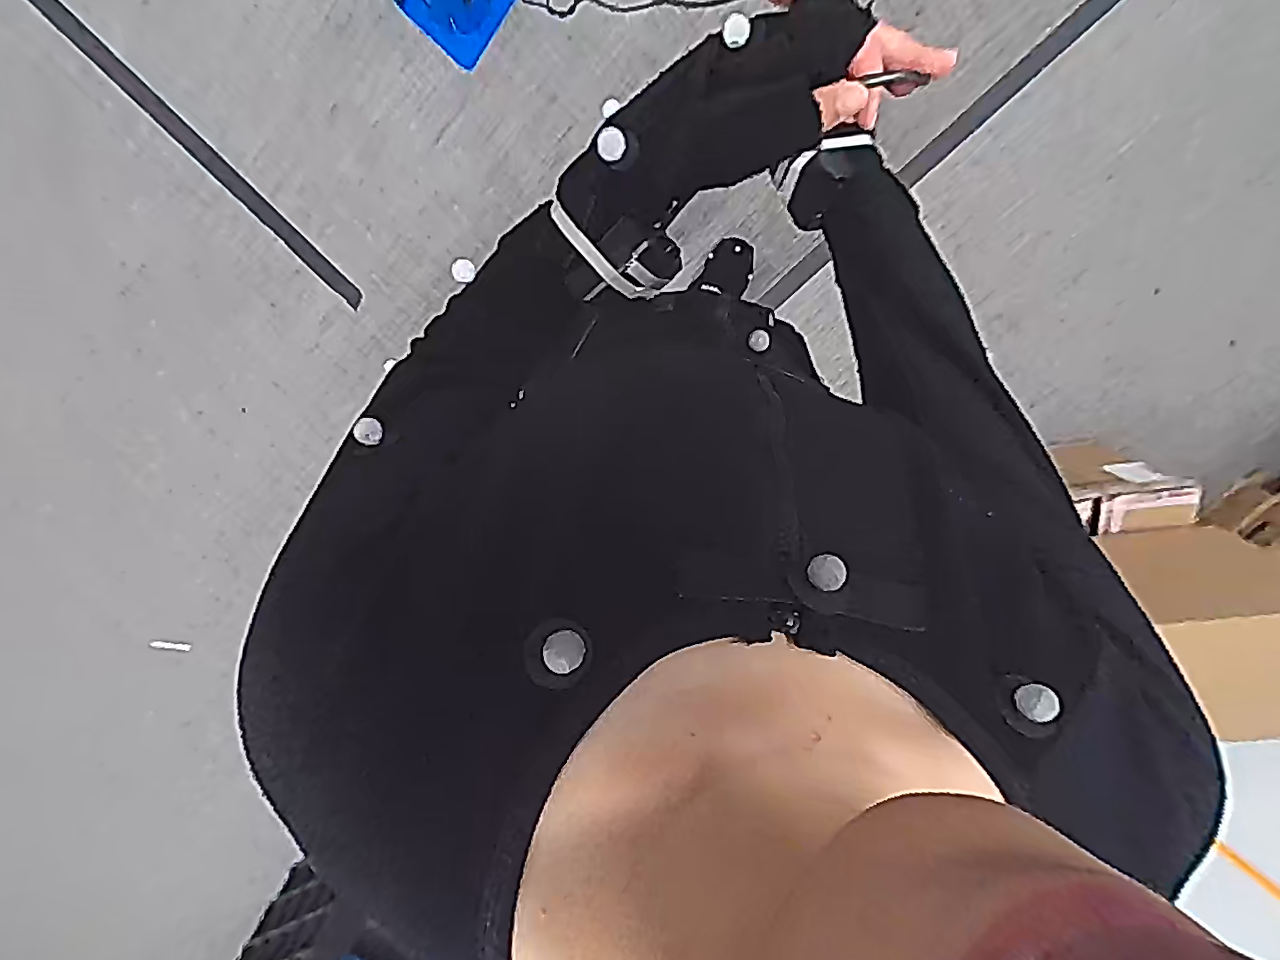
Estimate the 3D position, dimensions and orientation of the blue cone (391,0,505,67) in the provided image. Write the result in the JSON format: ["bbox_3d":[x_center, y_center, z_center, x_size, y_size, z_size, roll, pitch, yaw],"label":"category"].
[{"bbox_3d":[-0.393,-0.925,0.958,0.193,0.380,0.192,40,109,-15],"label":"blue cone"}]
